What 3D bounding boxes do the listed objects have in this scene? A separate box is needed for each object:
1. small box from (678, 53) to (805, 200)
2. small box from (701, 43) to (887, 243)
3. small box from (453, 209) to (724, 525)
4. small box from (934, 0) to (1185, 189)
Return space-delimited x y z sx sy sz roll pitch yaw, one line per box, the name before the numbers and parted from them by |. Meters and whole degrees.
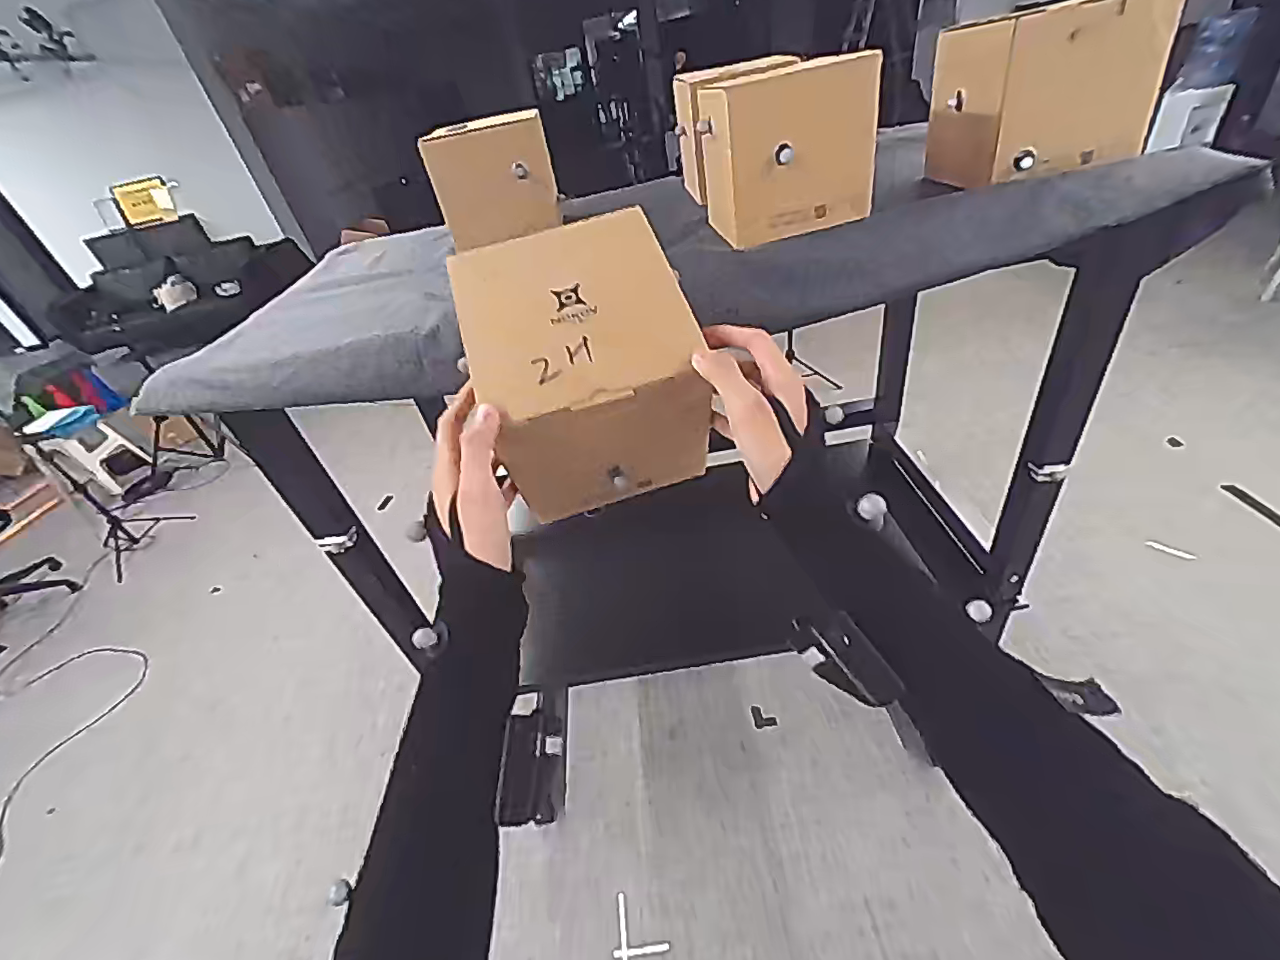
small box | 0.159 -0.569 0.878 0.168 0.176 0.179 -11 37 2
small box | 0.178 -0.401 0.658 0.168 0.176 0.179 -11 35 2
small box | -0.041 -0.087 0.460 0.168 0.176 0.179 -17 64 -4
small box | 0.474 -0.457 0.639 0.168 0.176 0.179 -9 34 5
